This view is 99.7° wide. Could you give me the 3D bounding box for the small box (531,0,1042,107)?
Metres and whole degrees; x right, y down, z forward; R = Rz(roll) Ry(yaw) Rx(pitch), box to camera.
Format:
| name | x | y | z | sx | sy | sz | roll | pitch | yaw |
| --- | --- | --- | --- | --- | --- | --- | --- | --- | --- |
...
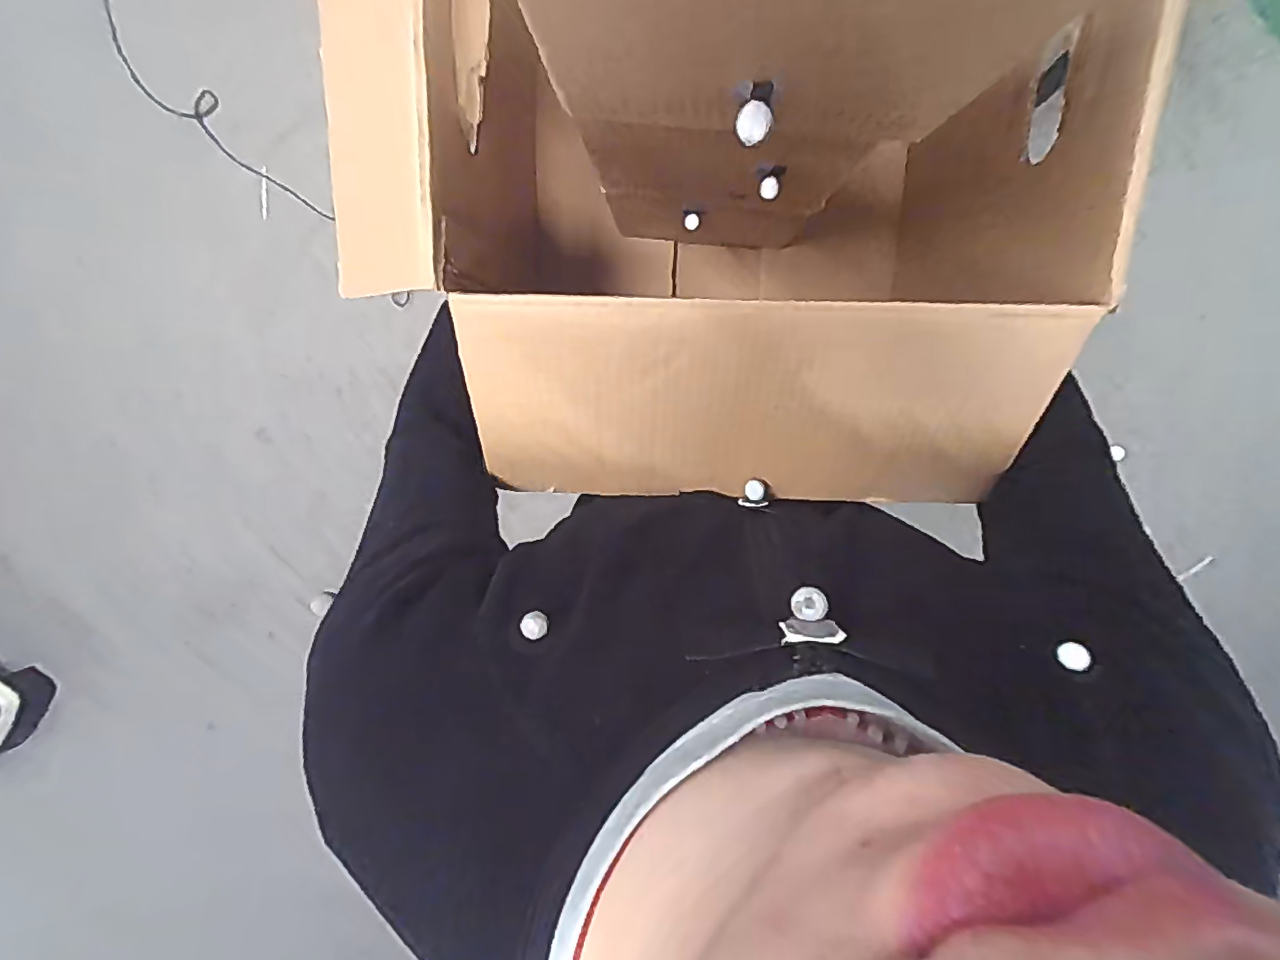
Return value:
| name | x | y | z | sx | sy | sz | roll | pitch | yaw |
| --- | --- | --- | --- | --- | --- | --- | --- | --- | --- |
| small box | 0.052 | -0.235 | 0.156 | 0.179 | 0.176 | 0.168 | 4 | 104 | 0 |
